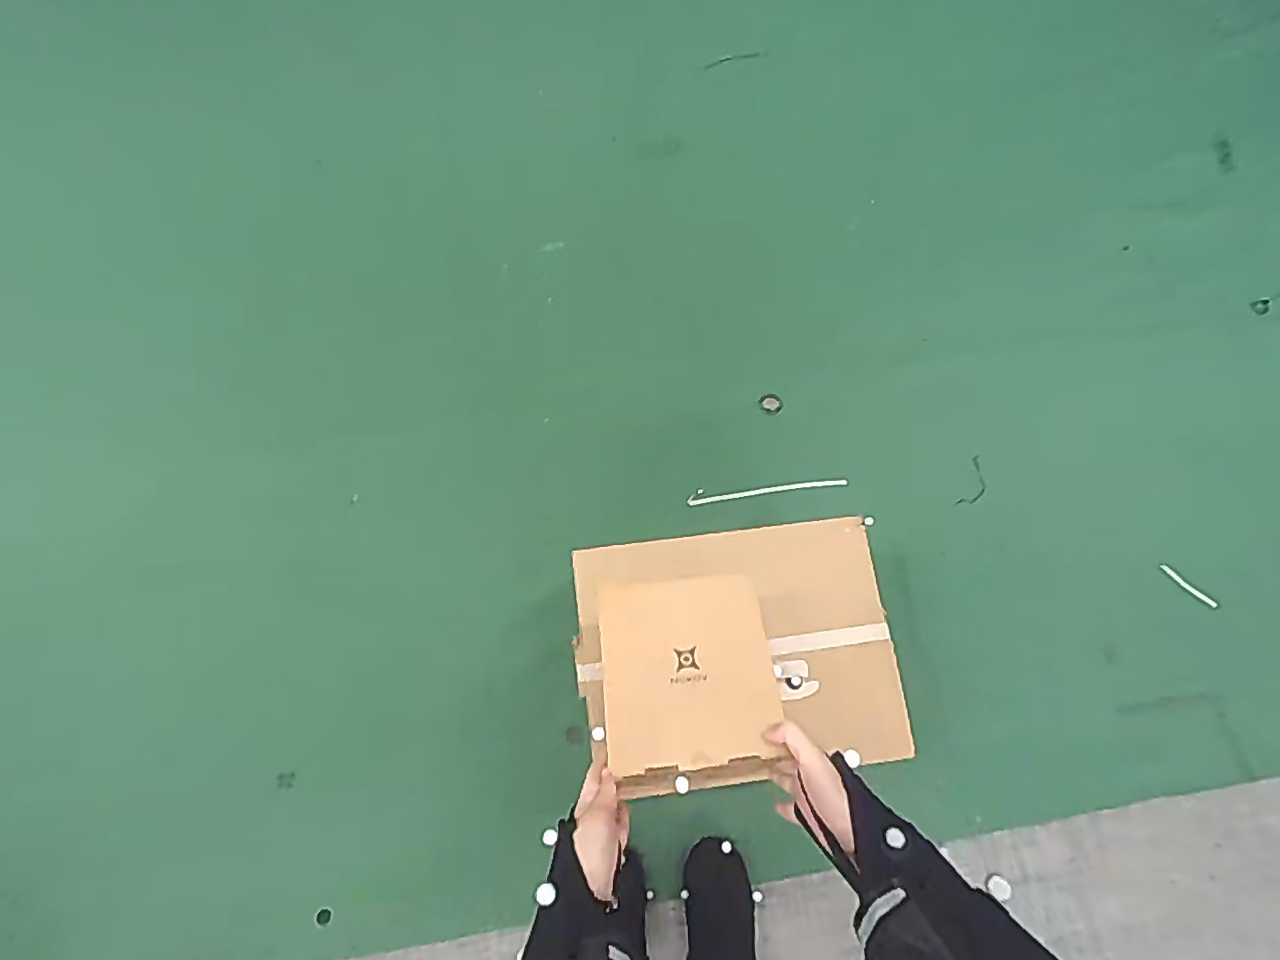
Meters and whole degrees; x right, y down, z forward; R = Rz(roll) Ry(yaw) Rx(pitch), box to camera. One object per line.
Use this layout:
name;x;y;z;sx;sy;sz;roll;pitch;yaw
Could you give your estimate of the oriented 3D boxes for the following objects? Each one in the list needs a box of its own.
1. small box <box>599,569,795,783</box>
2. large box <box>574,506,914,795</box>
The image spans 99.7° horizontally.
small box;0.046;0.214;0.578;0.168;0.176;0.179;-6;60;-3
large box;0.123;0.244;0.844;0.408;0.320;0.320;-7;78;-3
